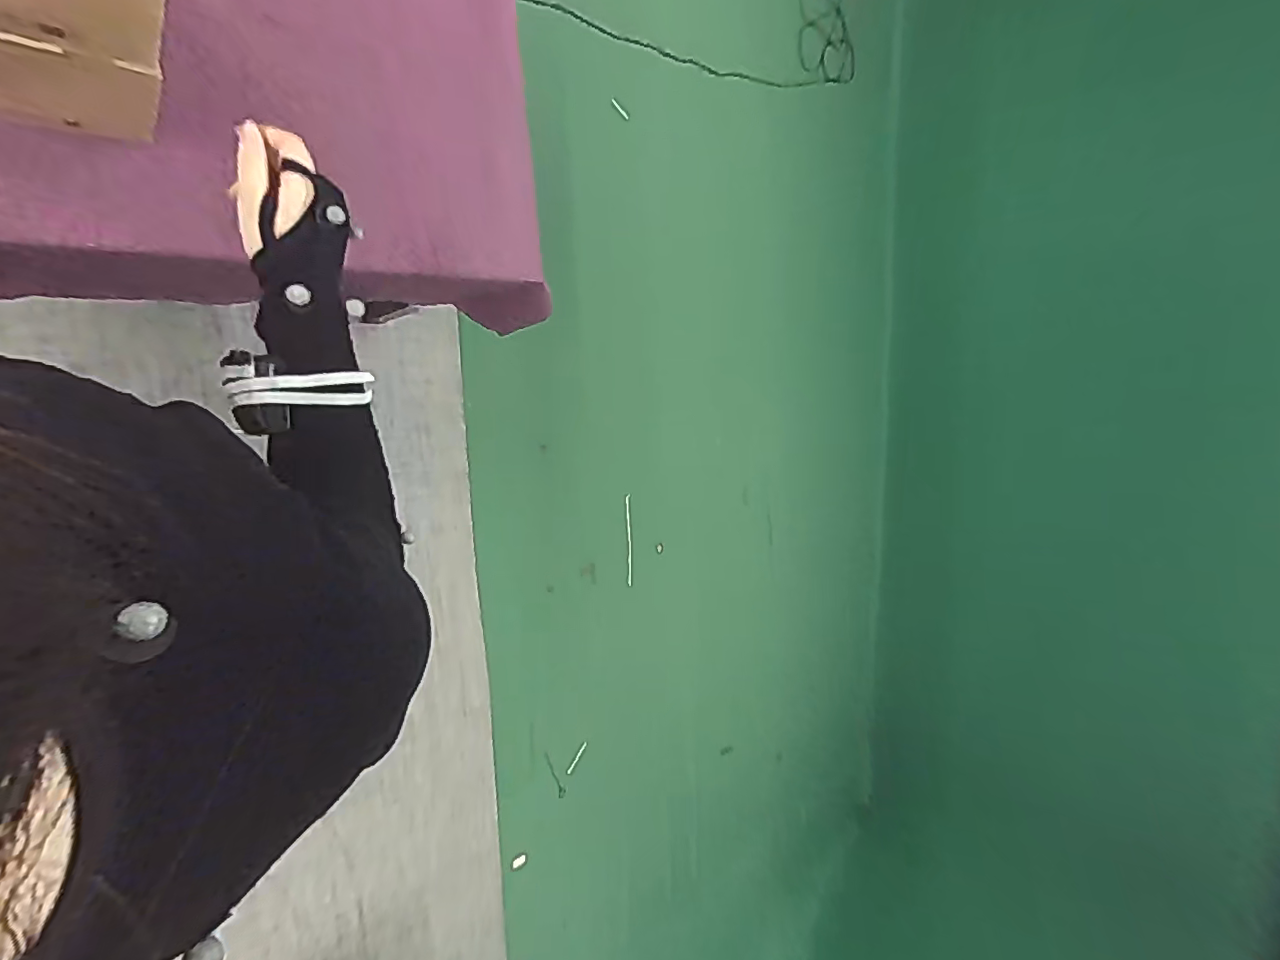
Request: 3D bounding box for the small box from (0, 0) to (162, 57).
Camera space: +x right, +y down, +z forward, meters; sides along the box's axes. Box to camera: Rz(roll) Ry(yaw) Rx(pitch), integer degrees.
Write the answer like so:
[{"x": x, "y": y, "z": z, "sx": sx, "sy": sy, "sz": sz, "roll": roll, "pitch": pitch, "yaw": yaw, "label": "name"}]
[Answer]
[{"x": -0.417, "y": -0.413, "z": 0.333, "sx": 0.168, "sy": 0.176, "sz": 0.179, "roll": -15, "pitch": 104, "yaw": -42, "label": "small box"}]
